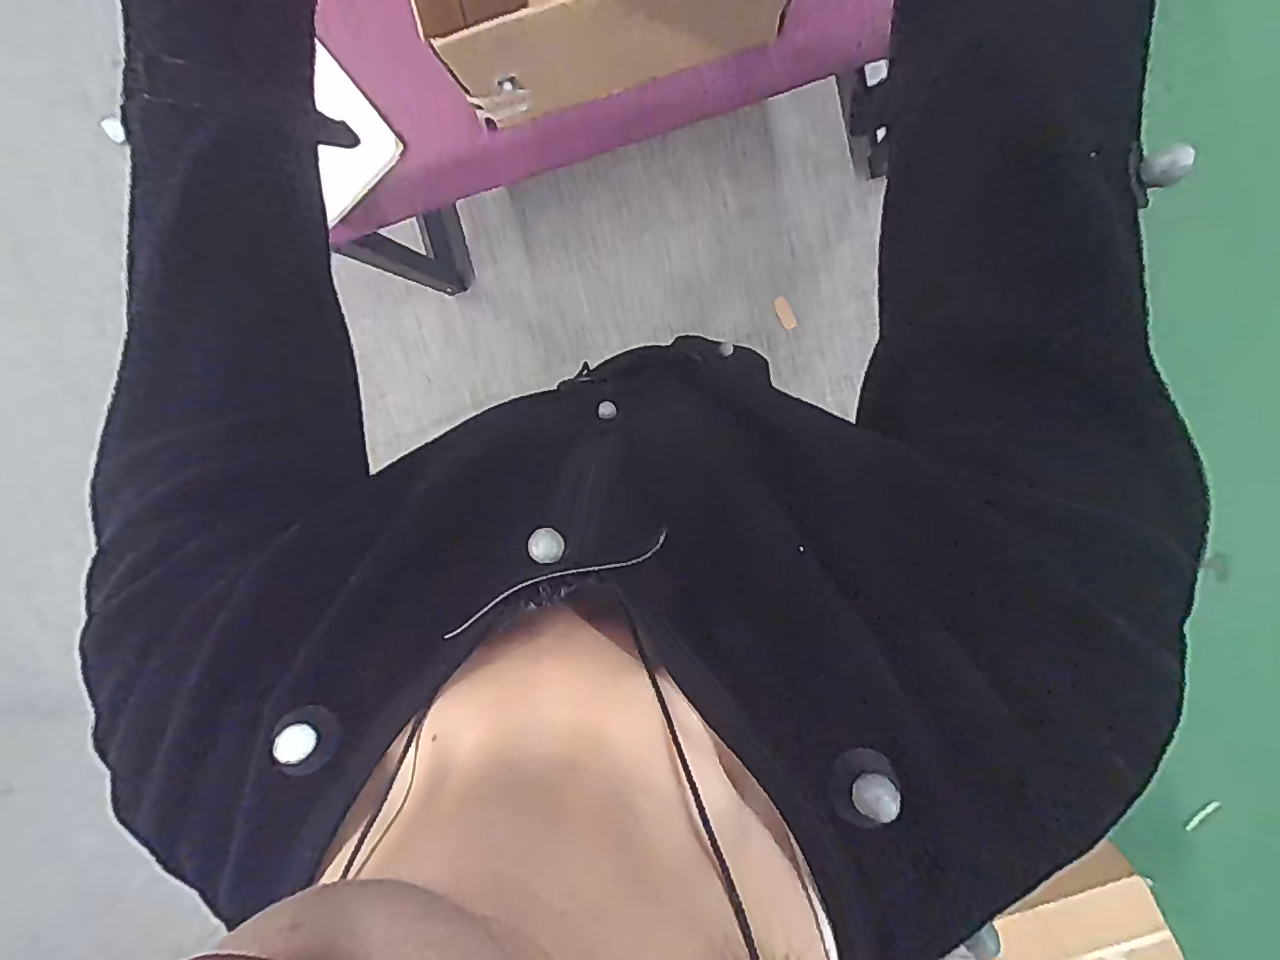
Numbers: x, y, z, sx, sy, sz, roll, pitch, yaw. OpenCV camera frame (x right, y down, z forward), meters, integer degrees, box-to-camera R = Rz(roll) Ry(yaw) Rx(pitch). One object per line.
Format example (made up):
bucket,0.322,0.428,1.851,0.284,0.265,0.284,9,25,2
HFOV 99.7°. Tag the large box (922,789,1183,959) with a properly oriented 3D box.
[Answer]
large box,1.042,1.098,1.402,0.408,0.320,0.320,-28,95,8
